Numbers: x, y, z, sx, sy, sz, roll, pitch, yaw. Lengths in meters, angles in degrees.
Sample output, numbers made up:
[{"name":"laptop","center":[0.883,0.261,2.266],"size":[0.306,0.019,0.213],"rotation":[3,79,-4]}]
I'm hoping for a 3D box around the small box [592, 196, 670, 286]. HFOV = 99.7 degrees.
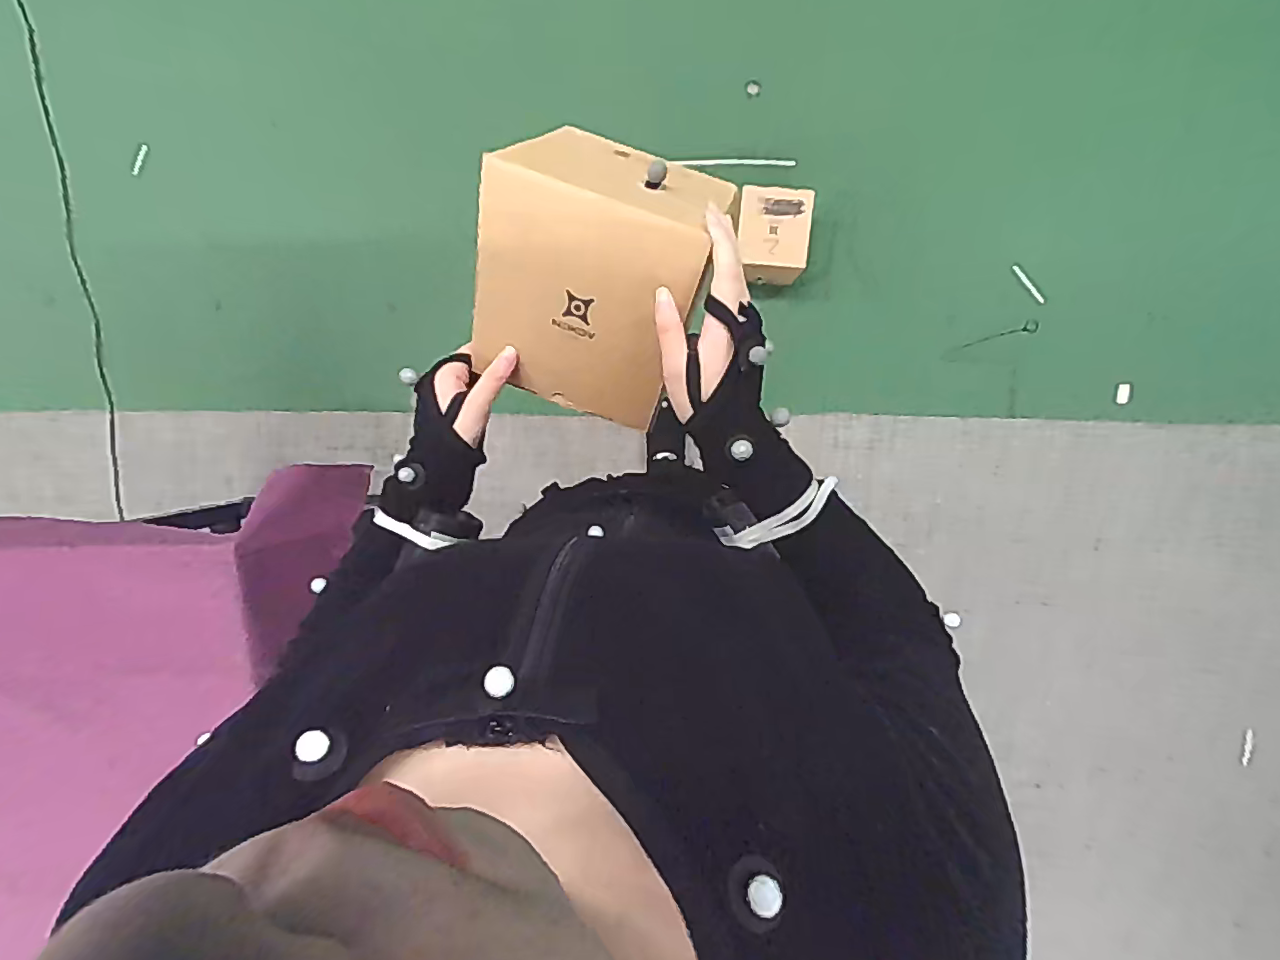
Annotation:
[{"name":"small box","center":[-0.018,-0.590,1.351],"size":[0.179,0.176,0.168],"rotation":[4,96,4]}]
